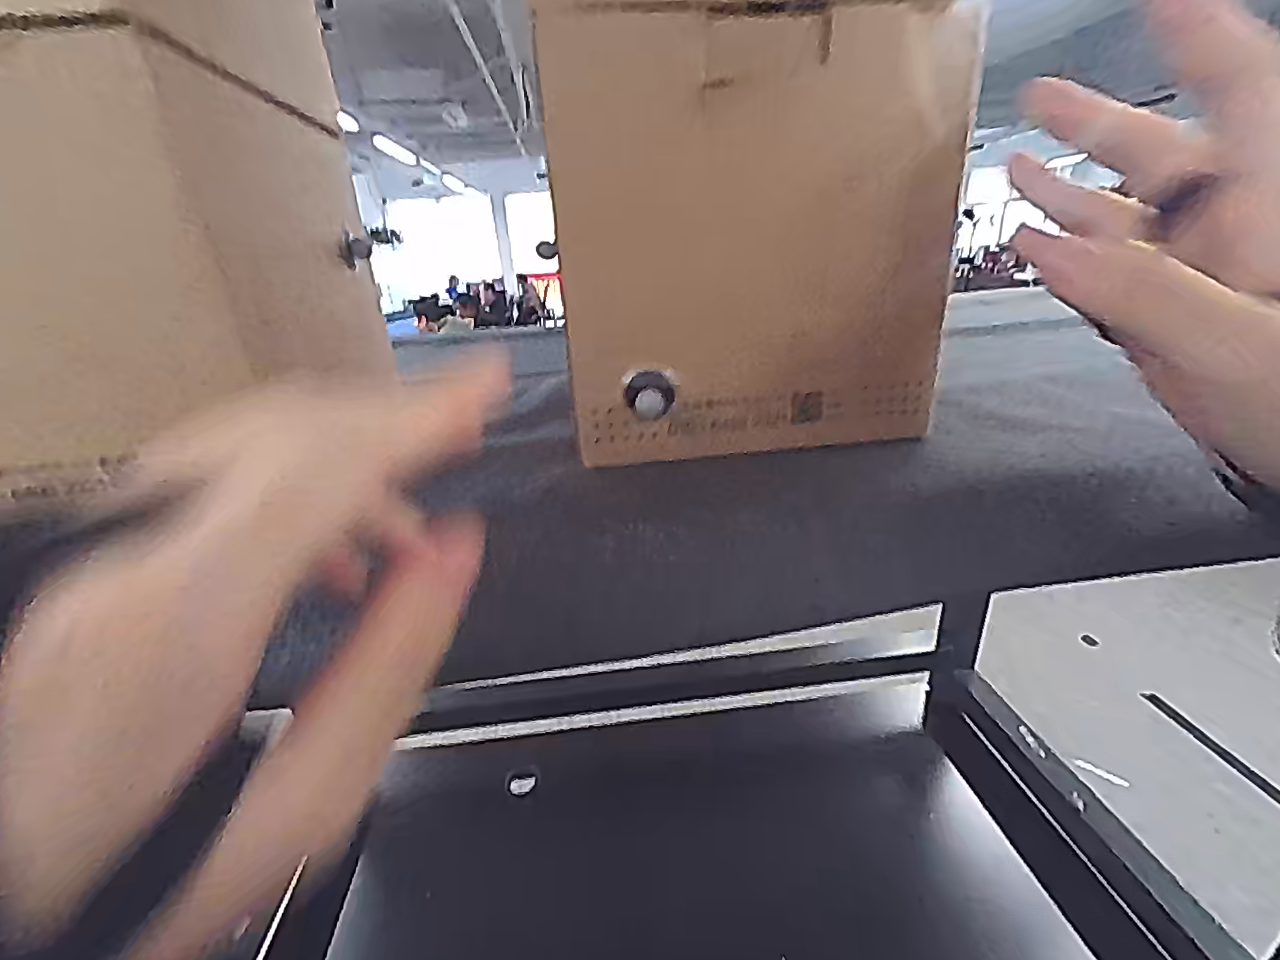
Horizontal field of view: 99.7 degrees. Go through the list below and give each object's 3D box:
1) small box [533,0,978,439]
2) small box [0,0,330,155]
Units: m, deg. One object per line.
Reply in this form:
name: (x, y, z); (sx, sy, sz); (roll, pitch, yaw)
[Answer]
small box: (0.042, -0.122, 0.296); (0.168, 0.176, 0.179); (-5, 21, -4)
small box: (-0.252, -0.243, 0.209); (0.168, 0.176, 0.179); (-6, 21, -5)
